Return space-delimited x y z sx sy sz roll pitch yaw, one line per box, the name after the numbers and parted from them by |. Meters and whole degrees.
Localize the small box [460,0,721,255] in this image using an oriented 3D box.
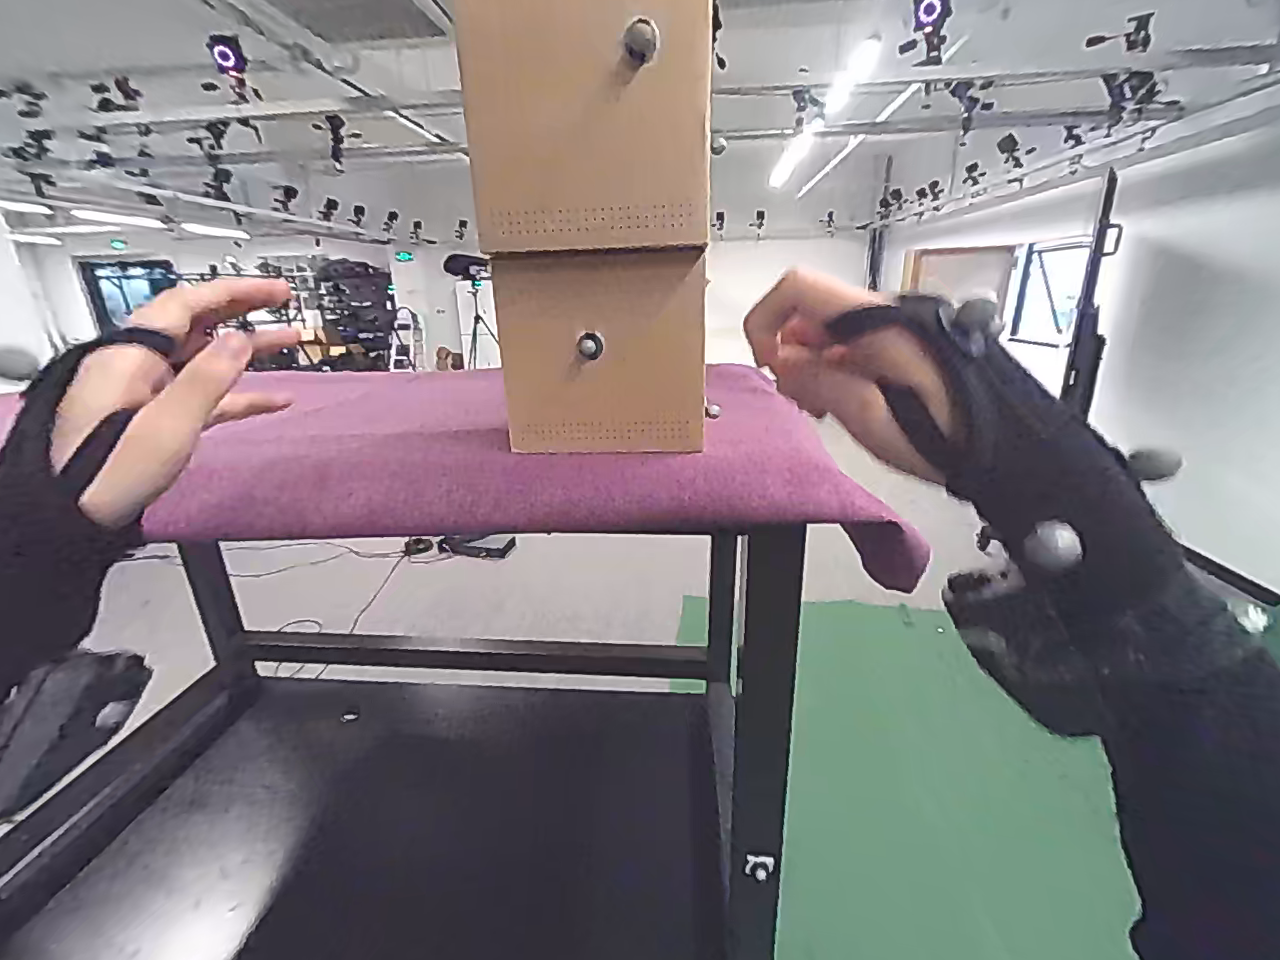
-0.026 -0.279 0.452 0.179 0.176 0.168 0 18 6 | small box

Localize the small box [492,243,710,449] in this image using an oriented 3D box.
-0.022 -0.130 0.525 0.179 0.176 0.168 0 18 6 | small box
